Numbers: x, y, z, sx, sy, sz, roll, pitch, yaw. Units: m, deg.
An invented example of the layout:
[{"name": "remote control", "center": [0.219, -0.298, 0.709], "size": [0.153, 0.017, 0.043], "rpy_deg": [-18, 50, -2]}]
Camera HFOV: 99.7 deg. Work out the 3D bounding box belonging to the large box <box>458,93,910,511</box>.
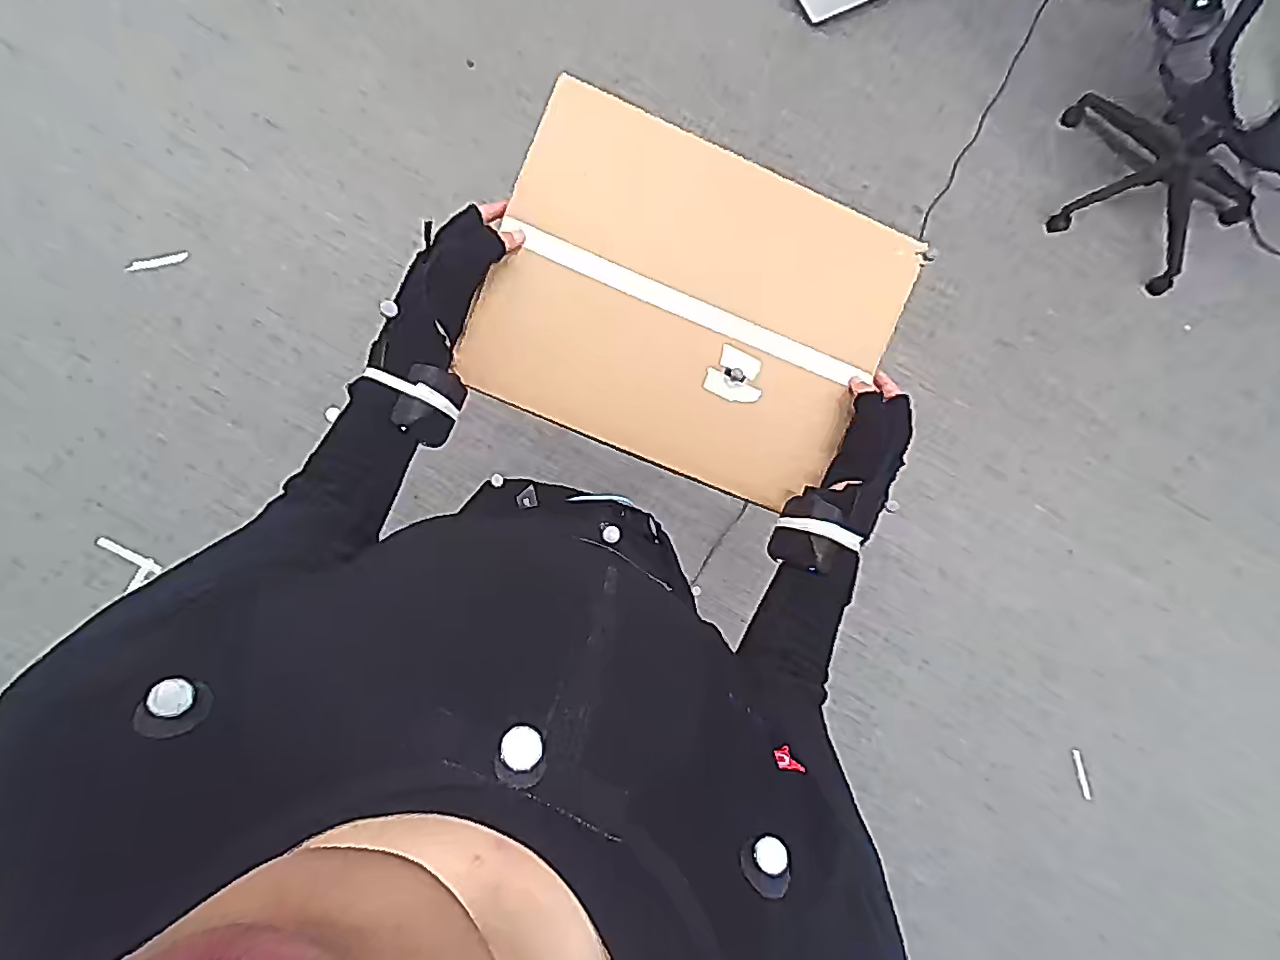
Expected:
[{"name": "large box", "center": [0.038, -0.187, 0.709], "size": [0.408, 0.320, 0.320], "rpy_deg": [22, 93, -6]}]
